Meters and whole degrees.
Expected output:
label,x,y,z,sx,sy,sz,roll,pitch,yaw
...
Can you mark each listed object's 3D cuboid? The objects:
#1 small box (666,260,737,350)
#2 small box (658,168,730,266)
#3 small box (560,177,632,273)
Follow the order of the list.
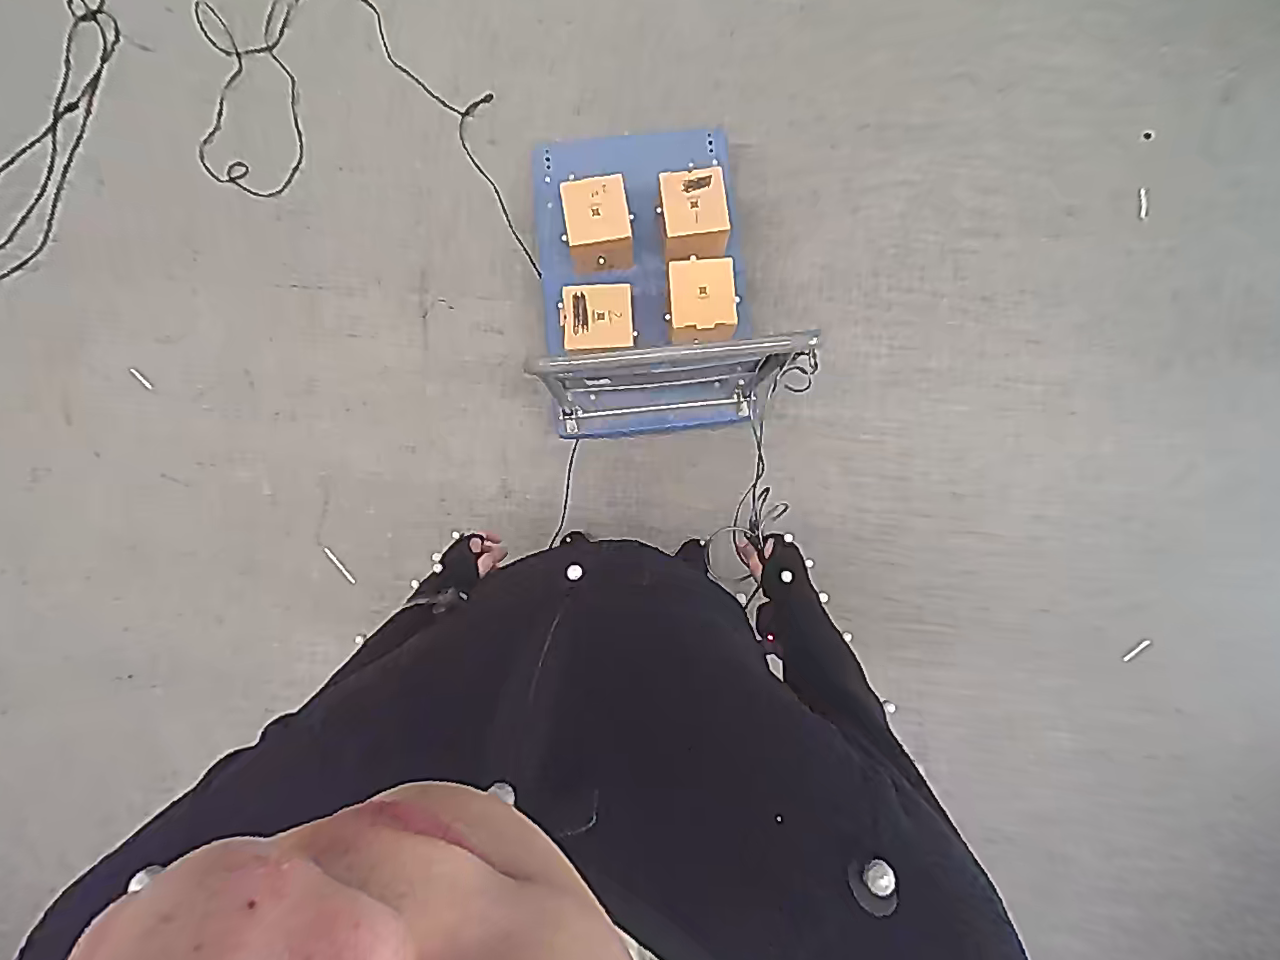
label,x,y,z,sx,sy,sz,roll,pitch,yaw
small box,0.160,-0.464,1.447,0.168,0.176,0.179,-4,85,0
small box,0.141,-0.704,1.466,0.168,0.176,0.179,-8,86,1
small box,-0.114,-0.681,1.467,0.168,0.176,0.179,-9,85,-1
